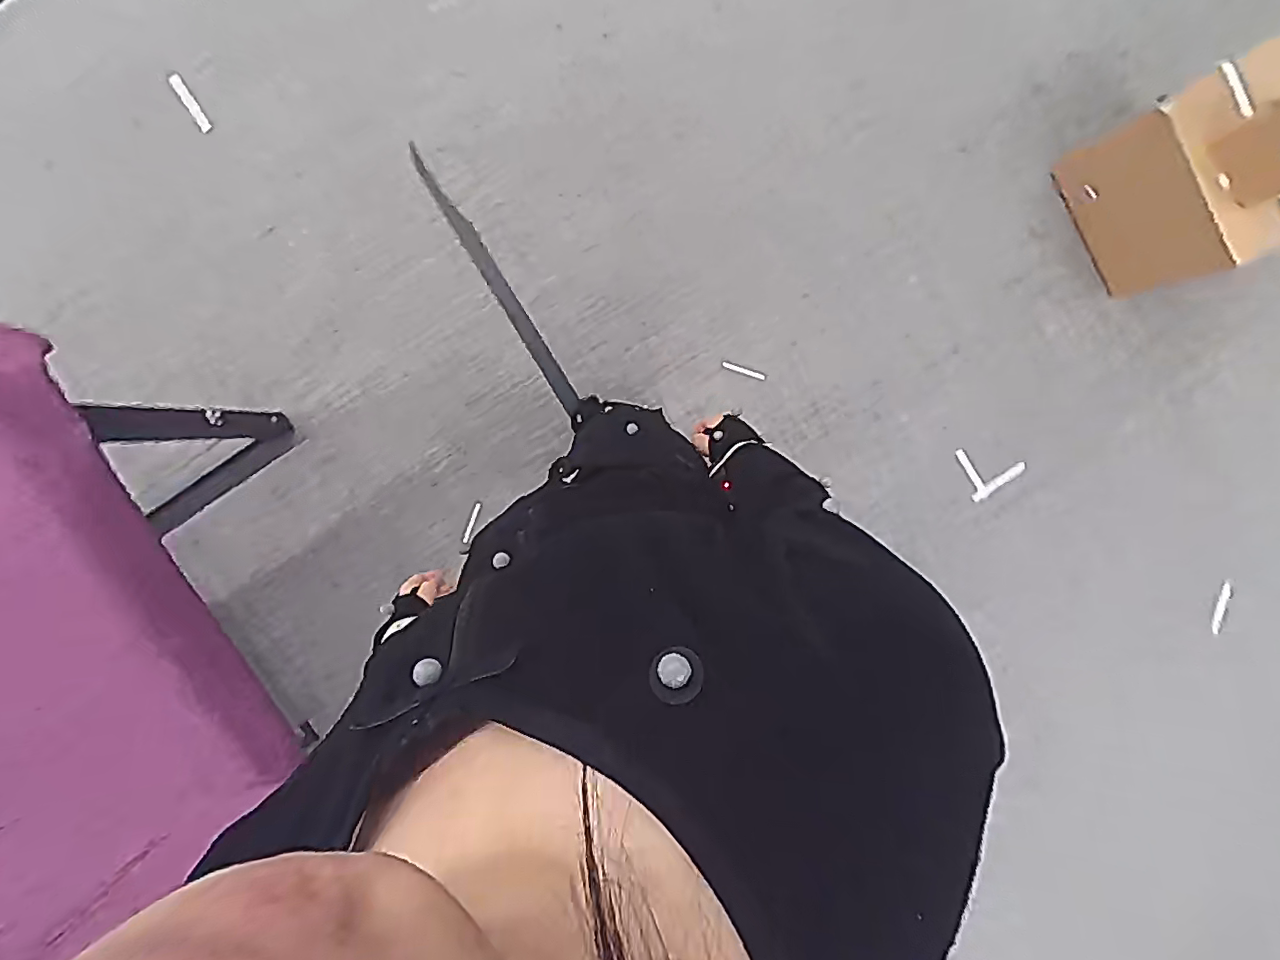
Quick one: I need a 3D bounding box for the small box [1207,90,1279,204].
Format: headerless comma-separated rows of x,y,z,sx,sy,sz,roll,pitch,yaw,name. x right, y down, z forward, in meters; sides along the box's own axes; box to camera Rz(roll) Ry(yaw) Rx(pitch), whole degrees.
1.337,-0.709,1.103,0.168,0.176,0.179,-33,97,2,small box
